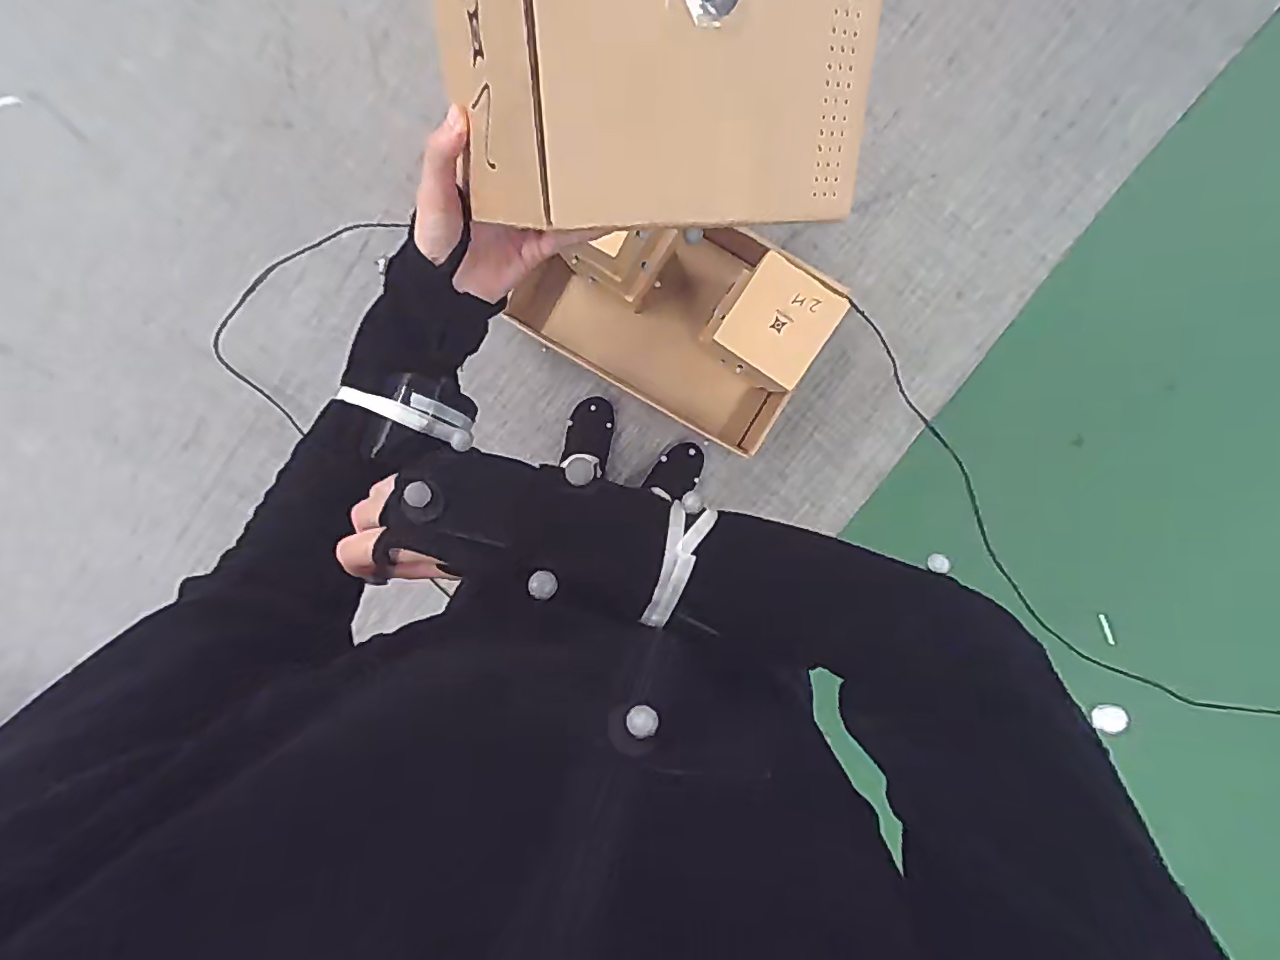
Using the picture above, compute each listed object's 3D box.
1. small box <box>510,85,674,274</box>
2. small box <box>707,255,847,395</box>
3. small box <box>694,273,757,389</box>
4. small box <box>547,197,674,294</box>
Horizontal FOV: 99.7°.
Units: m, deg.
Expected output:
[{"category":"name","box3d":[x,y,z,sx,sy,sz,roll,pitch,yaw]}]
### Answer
[{"category":"small box","box3d":[-0.062,-0.432,0.816,0.179,0.176,0.168,30,100,-2]},{"category":"small box","box3d":[0.237,-0.272,0.994,0.168,0.176,0.179,34,97,-5]},{"category":"small box","box3d":[0.230,-0.305,1.156,0.179,0.176,0.168,34,98,-3]},{"category":"small box","box3d":[-0.058,-0.458,0.976,0.179,0.176,0.168,34,99,-4]}]
